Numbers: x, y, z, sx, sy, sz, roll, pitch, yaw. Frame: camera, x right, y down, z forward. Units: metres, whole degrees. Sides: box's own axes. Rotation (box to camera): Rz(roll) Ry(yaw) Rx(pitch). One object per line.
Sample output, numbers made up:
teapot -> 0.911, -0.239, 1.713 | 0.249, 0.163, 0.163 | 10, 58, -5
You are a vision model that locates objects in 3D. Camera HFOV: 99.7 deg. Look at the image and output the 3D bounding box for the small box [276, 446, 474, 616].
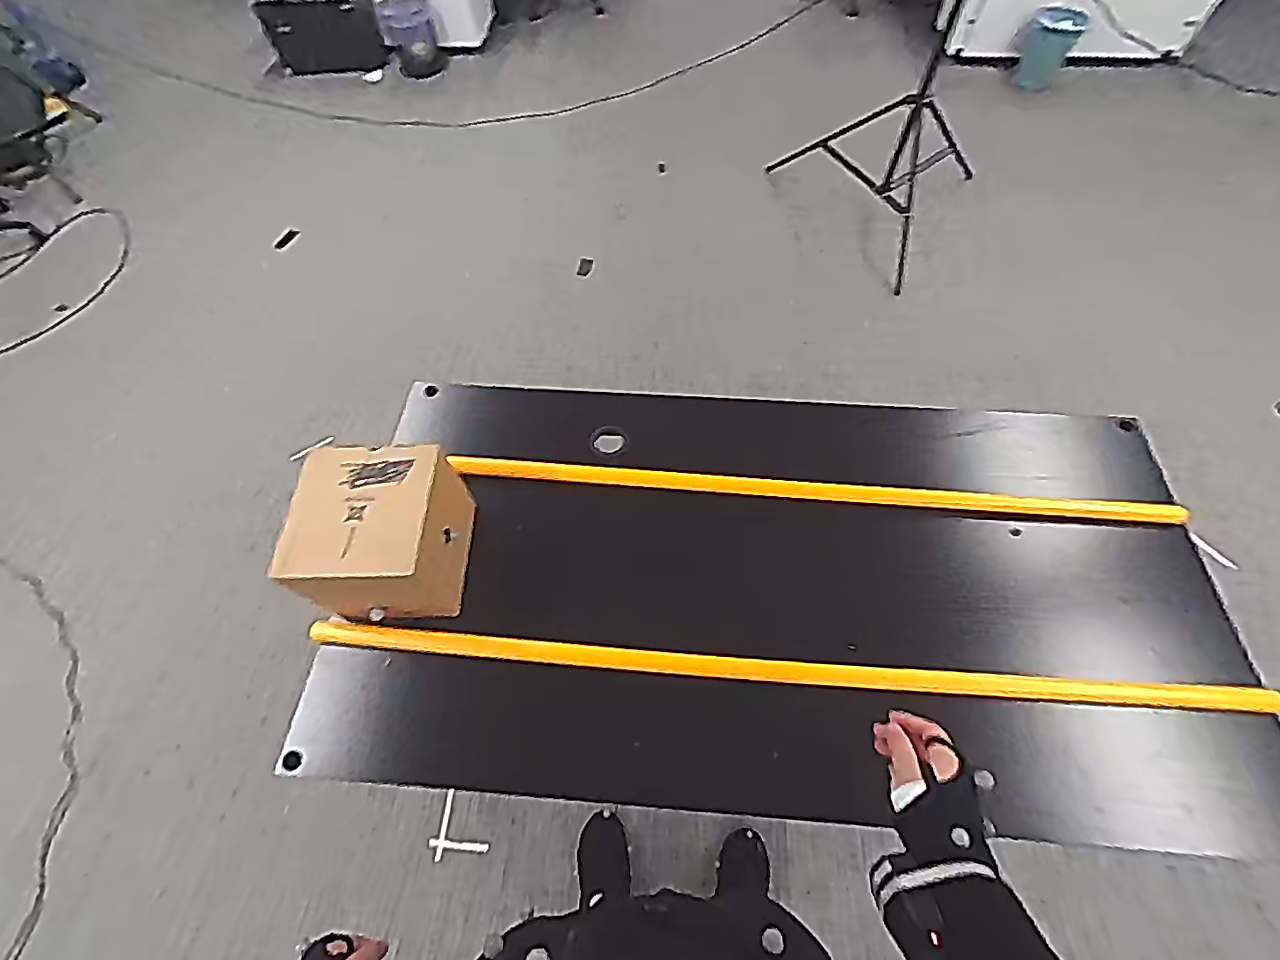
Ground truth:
small box -> -0.329, 0.072, 0.718 | 0.168, 0.176, 0.179 | -1, 61, 0
